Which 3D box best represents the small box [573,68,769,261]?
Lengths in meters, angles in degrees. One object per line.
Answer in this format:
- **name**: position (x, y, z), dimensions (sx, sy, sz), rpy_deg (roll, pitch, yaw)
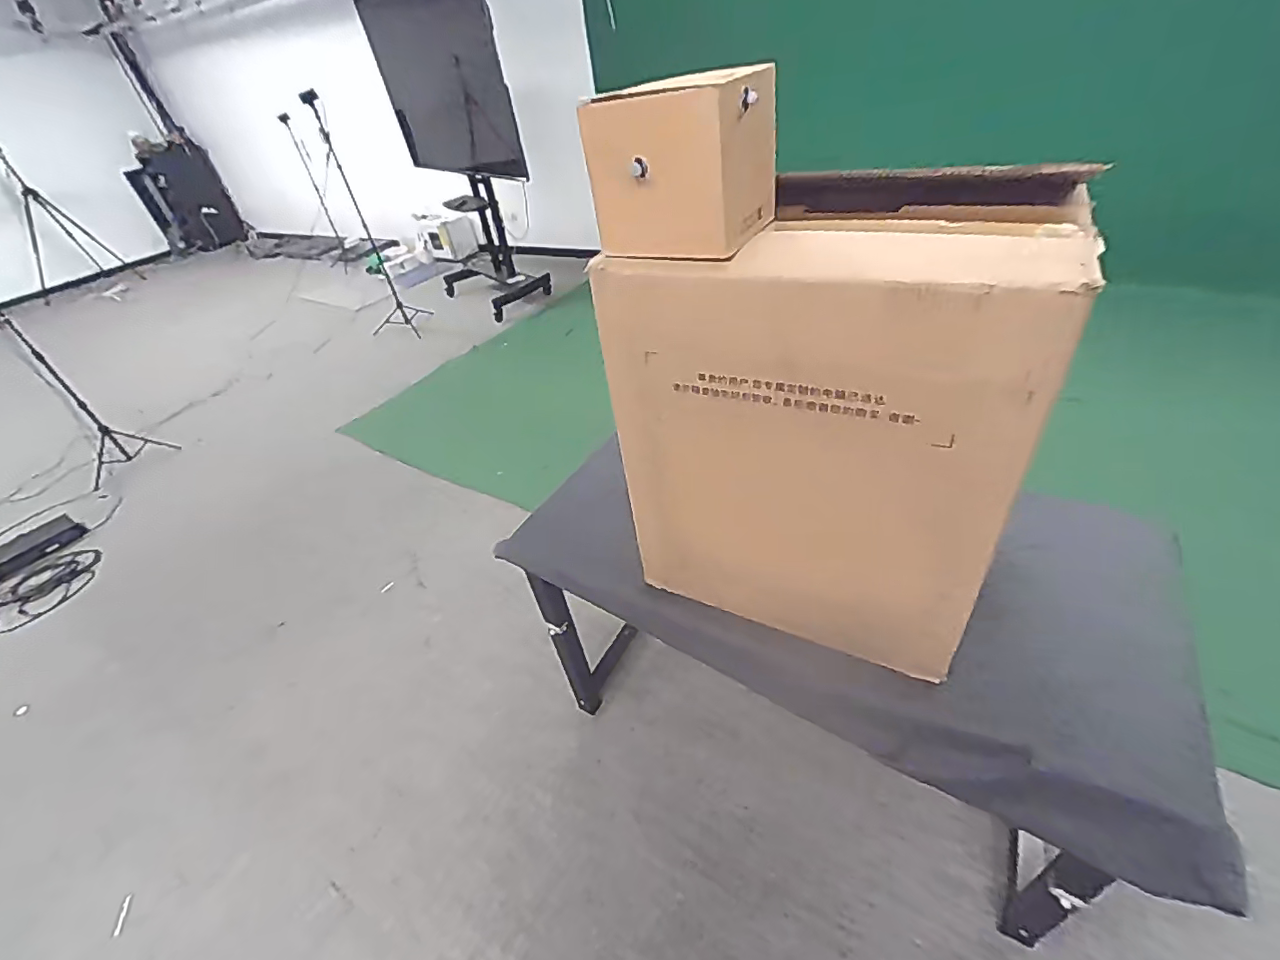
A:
- **small box**: position (0.049, -0.381, 0.667), dimensions (0.179, 0.176, 0.168), rpy_deg (12, 45, 29)
